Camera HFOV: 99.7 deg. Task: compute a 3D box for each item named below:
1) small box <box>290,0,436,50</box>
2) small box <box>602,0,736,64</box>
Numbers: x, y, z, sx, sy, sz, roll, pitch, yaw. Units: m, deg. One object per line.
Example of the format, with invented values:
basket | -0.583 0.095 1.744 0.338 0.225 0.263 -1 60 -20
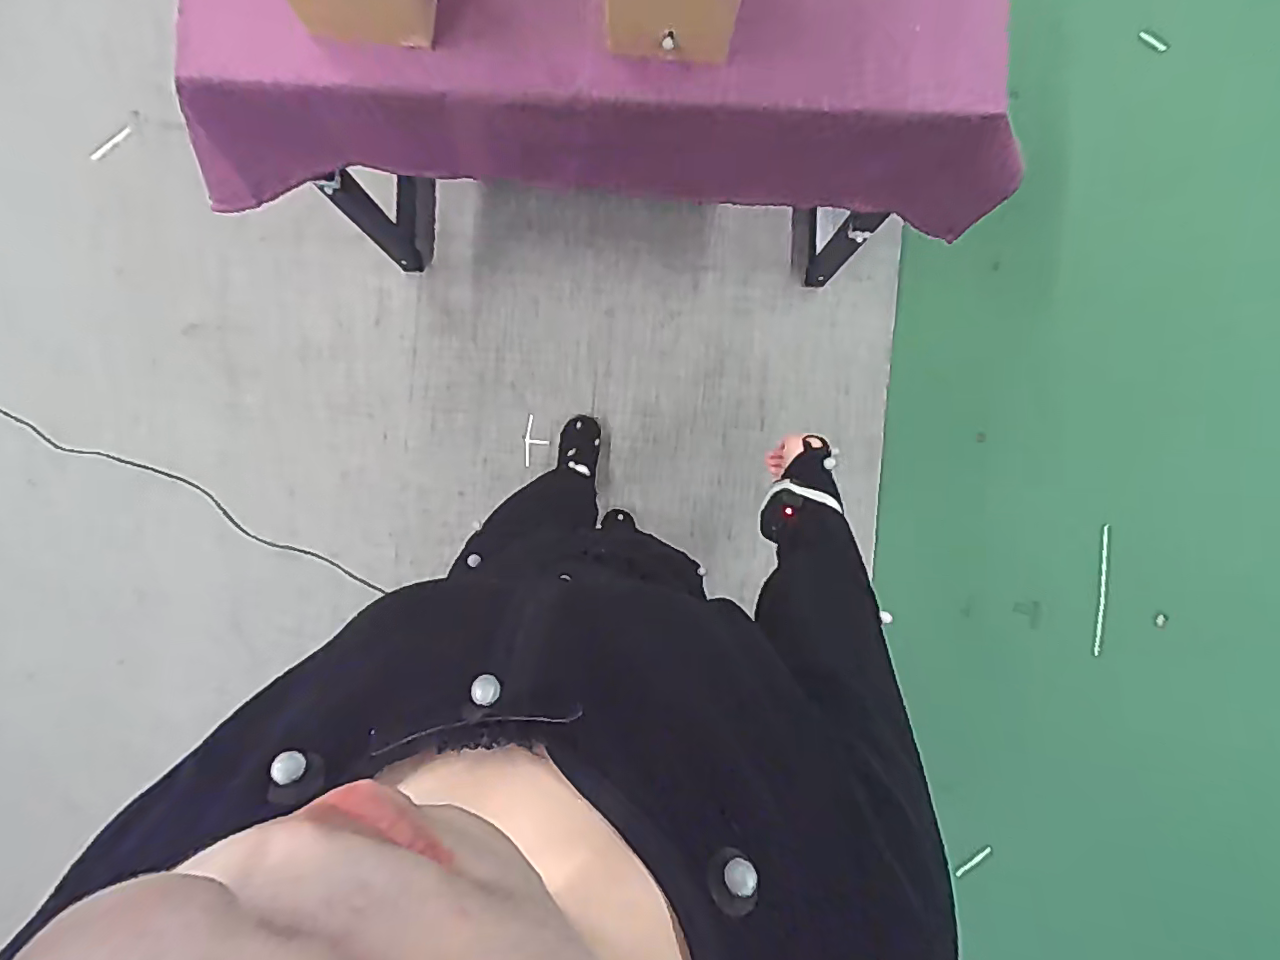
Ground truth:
small box | -0.378 -0.707 0.701 0.179 0.176 0.168 5 89 -2
small box | 0.043 -0.694 0.712 0.179 0.176 0.168 4 88 -2
